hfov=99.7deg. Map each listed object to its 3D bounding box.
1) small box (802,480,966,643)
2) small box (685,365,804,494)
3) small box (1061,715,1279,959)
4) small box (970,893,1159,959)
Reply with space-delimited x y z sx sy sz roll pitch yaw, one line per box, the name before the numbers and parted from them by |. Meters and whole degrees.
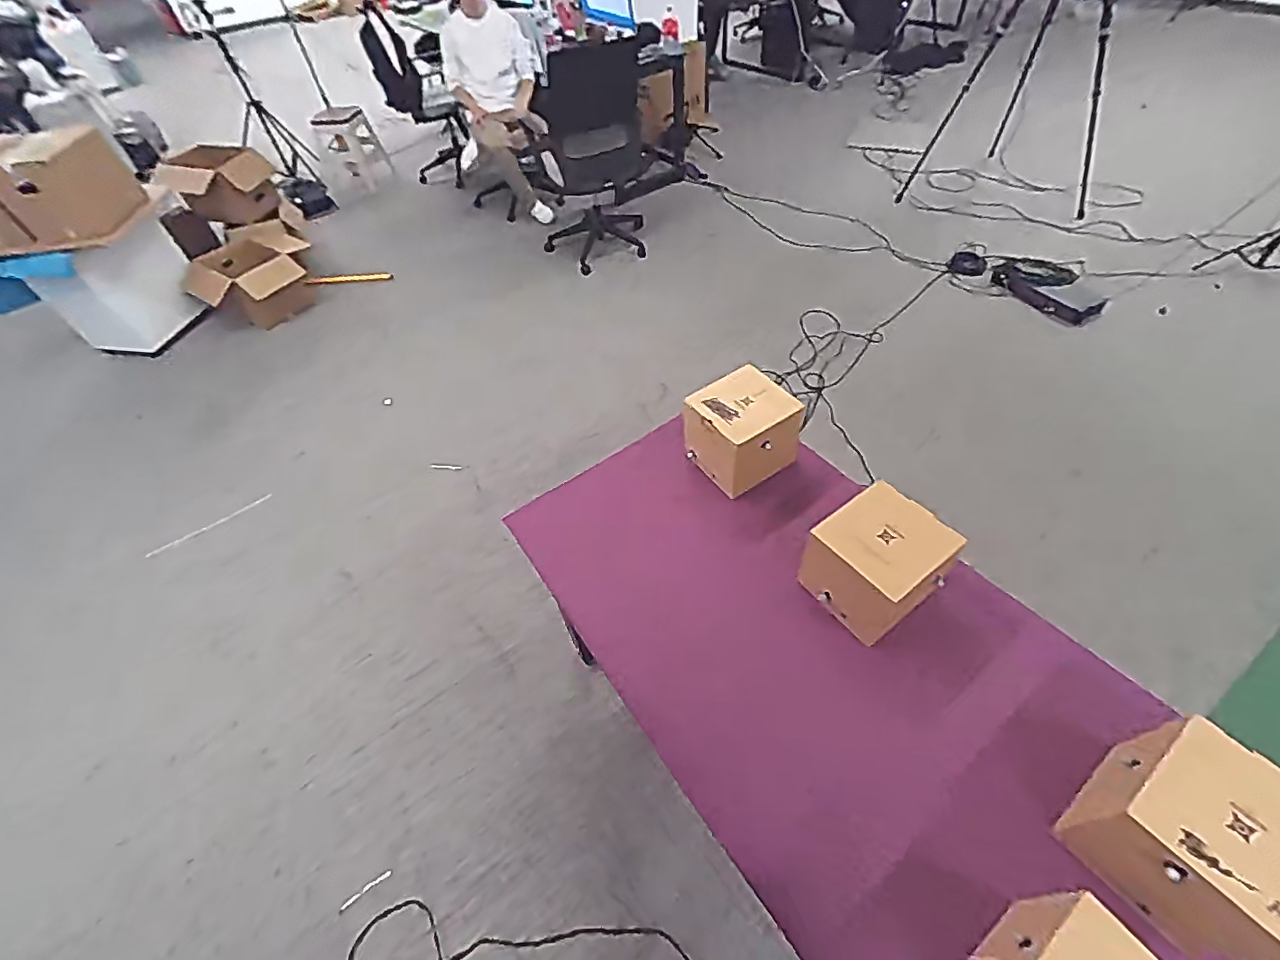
small box | 0.397 0.139 0.915 0.179 0.176 0.168 -31 54 -19
small box | 0.212 -0.101 1.125 0.179 0.176 0.168 -30 55 -17
small box | 0.663 0.426 0.649 0.179 0.176 0.168 -31 54 -20
small box | 0.446 0.566 0.547 0.179 0.176 0.168 -29 52 -19
